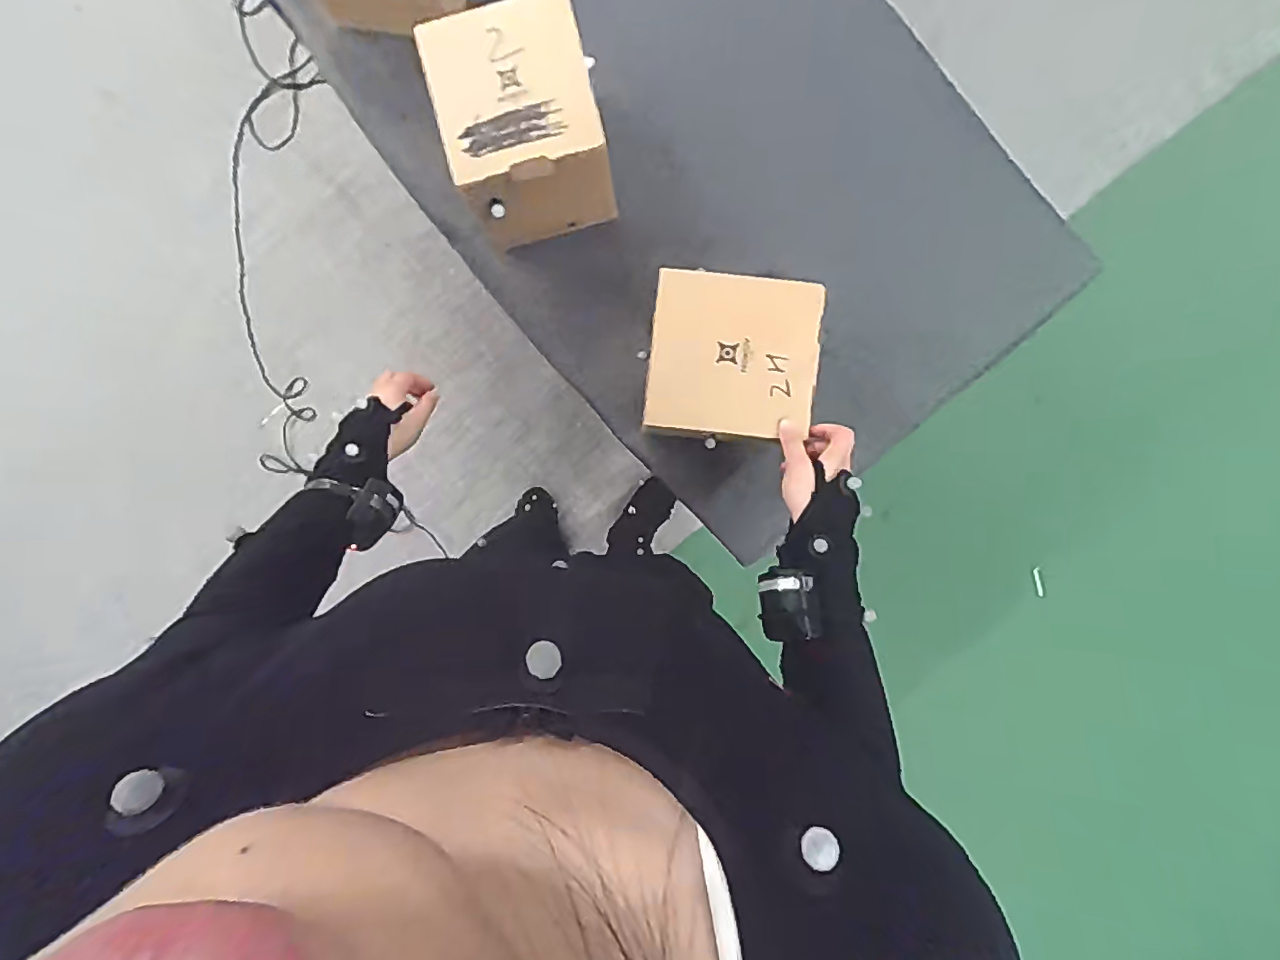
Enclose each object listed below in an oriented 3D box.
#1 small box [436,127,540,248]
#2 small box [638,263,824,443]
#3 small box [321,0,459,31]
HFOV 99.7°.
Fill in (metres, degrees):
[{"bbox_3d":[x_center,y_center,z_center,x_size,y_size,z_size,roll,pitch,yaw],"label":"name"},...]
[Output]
[{"bbox_3d":[-0.374,-0.724,1.359,0.168,0.176,0.179,-28,90,3],"label":"small box"},{"bbox_3d":[0.093,-0.134,0.631,0.179,0.176,0.168,6,93,-1],"label":"small box"},{"bbox_3d":[-0.321,-0.675,0.630,0.179,0.176,0.168,8,93,2],"label":"small box"}]
